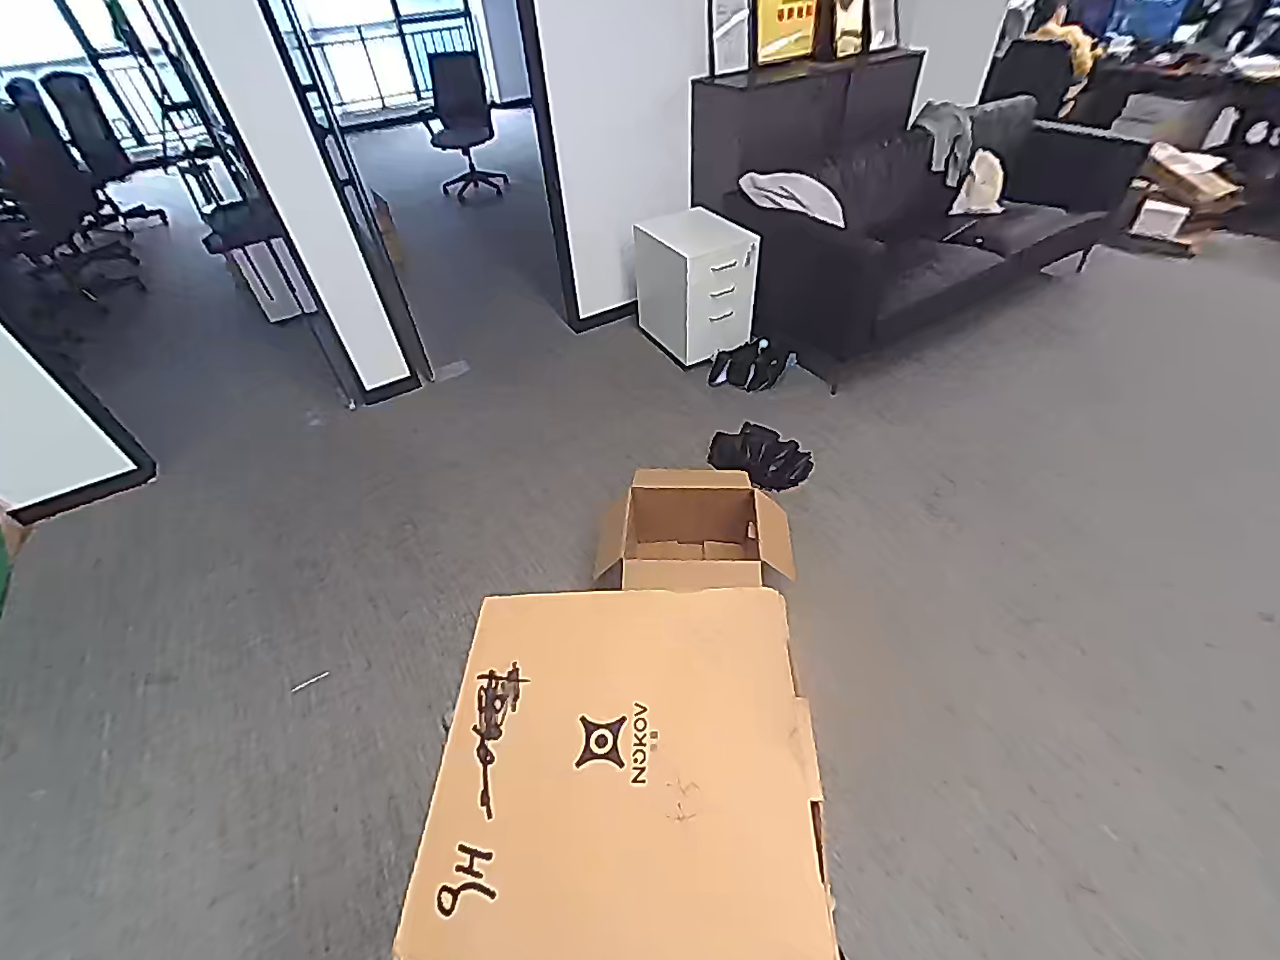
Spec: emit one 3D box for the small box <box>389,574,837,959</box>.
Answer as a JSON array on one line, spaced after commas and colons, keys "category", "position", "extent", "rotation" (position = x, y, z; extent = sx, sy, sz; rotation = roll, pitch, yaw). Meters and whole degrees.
[{"category": "small box", "position": [-0.002, 0.170, 0.316], "extent": [0.179, 0.176, 0.168], "rotation": [-2, 47, 6]}]
